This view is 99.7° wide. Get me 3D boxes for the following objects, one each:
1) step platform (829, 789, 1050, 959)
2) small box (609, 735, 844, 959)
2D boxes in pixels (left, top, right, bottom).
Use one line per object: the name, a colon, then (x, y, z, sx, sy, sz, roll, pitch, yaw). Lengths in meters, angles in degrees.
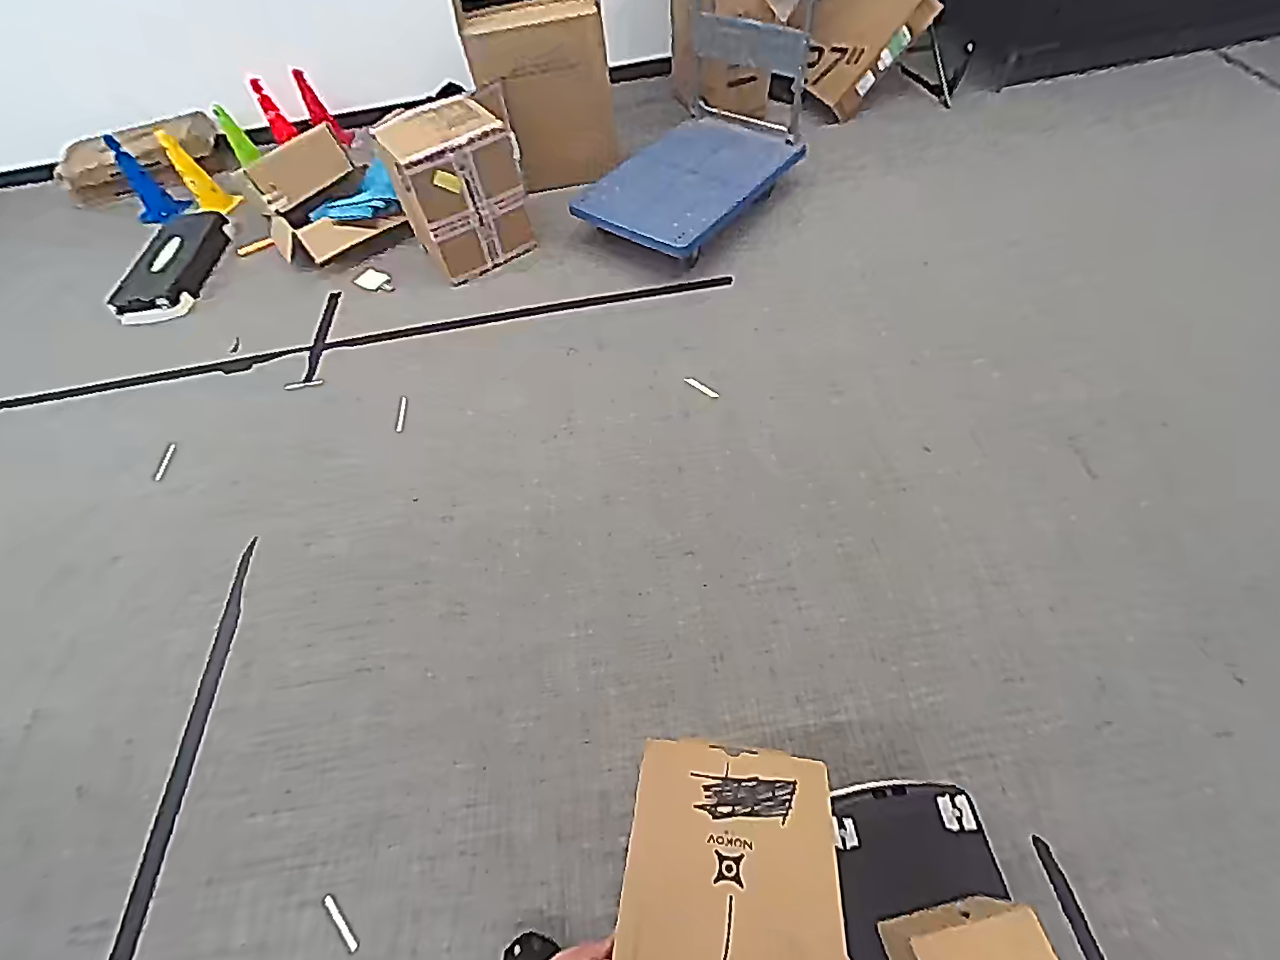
step platform: (0.509, 0.873, 0.839, 0.286, 0.204, 0.684, -9, 55, 0)
small box: (0.074, 0.362, 0.478, 0.168, 0.176, 0.179, 3, 36, 9)
